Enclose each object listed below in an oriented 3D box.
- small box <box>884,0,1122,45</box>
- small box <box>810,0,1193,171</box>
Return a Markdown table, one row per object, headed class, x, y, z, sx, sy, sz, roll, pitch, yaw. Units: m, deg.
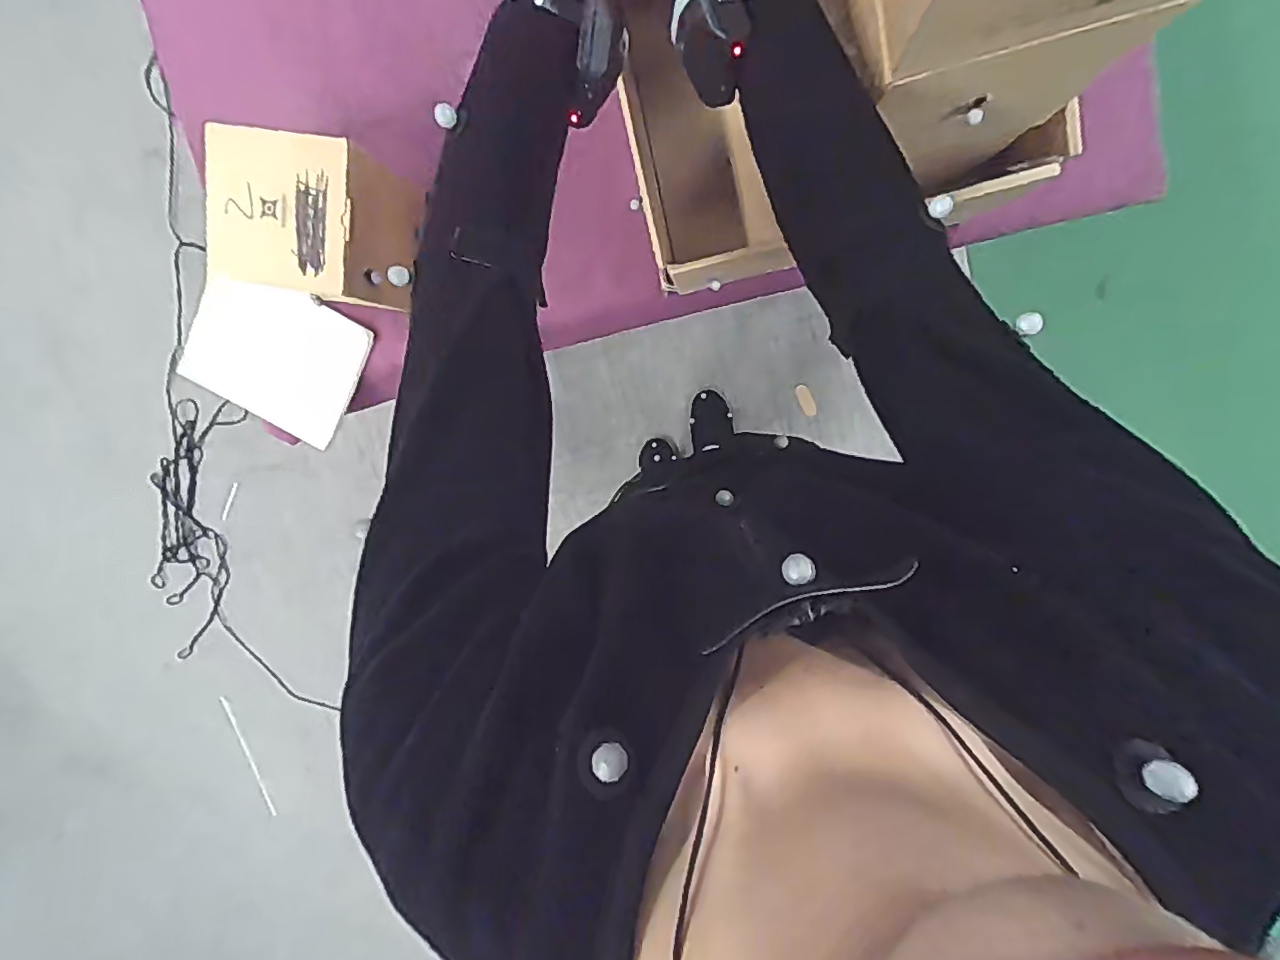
| class | x | y | z | sx | sy | sz | roll | pitch | yaw |
| --- | --- | --- | --- | --- | --- | --- | --- | --- | --- |
| small box | 0.203 | -0.329 | 0.224 | 0.168 | 0.176 | 0.179 | -9 | 98 | 10 |
| small box | 0.231 | -0.353 | 0.383 | 0.179 | 0.176 | 0.168 | -10 | 99 | 11 |
